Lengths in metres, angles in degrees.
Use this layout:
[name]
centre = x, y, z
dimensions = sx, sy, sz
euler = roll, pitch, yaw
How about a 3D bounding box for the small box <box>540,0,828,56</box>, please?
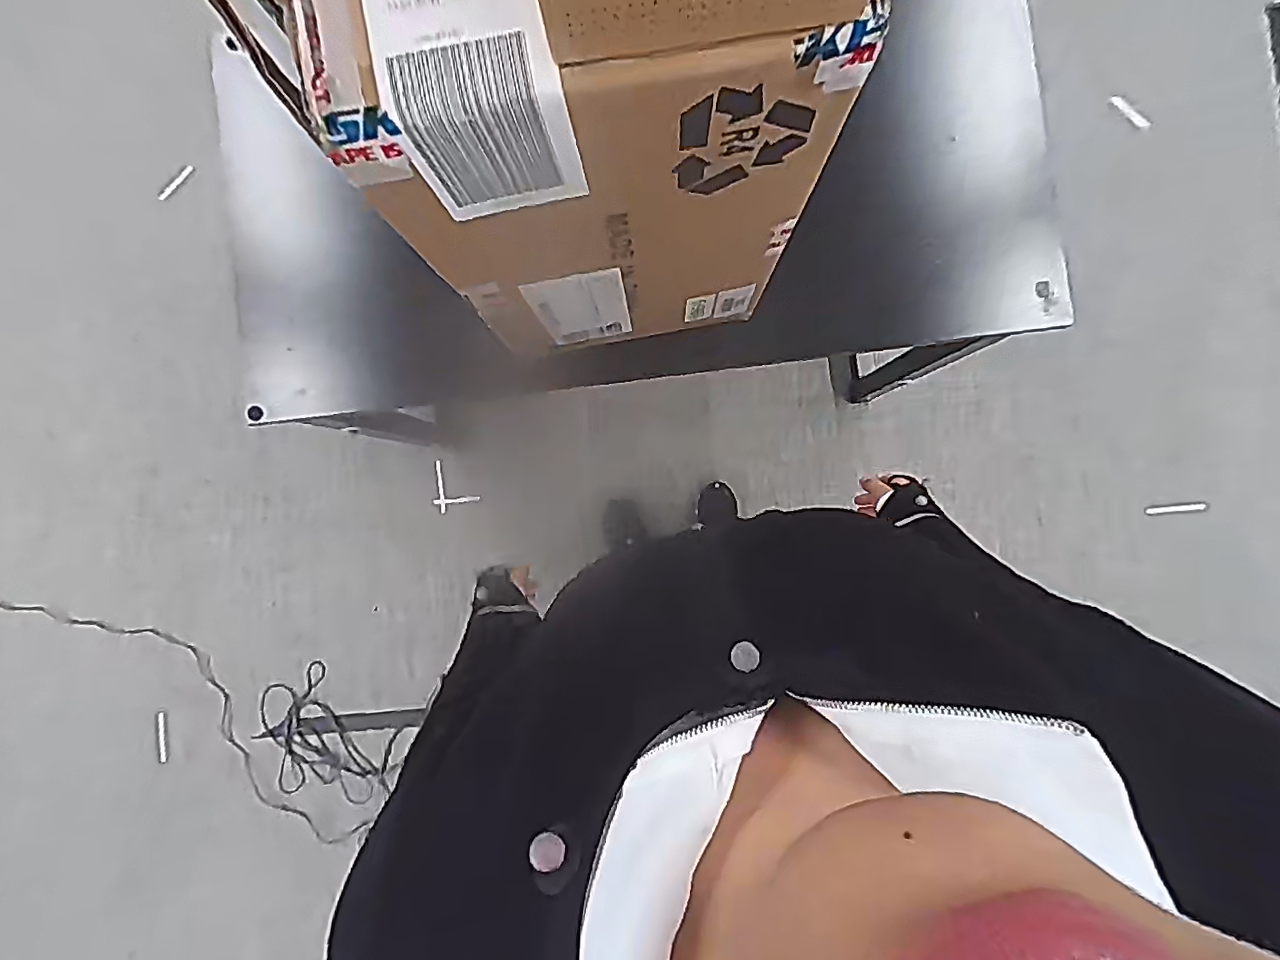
[small box]
centre = 0.024, -0.330, 0.227
dimensions = 0.179, 0.176, 0.168
euler = -8, 88, 2
